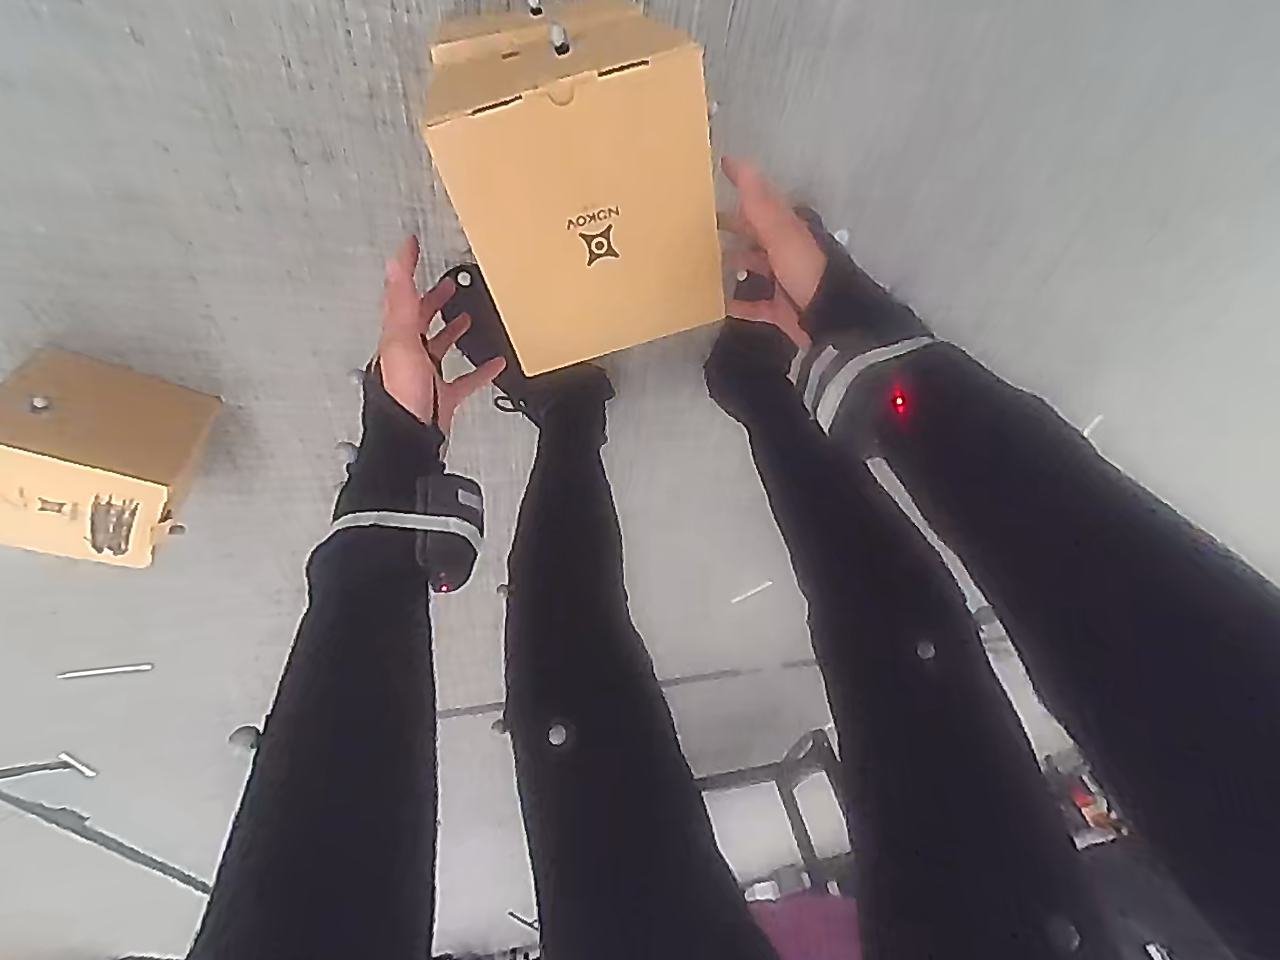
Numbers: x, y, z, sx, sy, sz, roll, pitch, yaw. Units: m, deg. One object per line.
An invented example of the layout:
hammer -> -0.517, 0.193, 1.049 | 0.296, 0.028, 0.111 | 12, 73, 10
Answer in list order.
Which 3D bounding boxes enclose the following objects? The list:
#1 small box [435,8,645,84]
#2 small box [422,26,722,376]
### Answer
small box -> -0.085, -0.333, 0.524 | 0.168, 0.176, 0.179 | -13, 136, -4
small box -> -0.045, -0.215, 0.418 | 0.168, 0.176, 0.179 | -17, 135, 0
